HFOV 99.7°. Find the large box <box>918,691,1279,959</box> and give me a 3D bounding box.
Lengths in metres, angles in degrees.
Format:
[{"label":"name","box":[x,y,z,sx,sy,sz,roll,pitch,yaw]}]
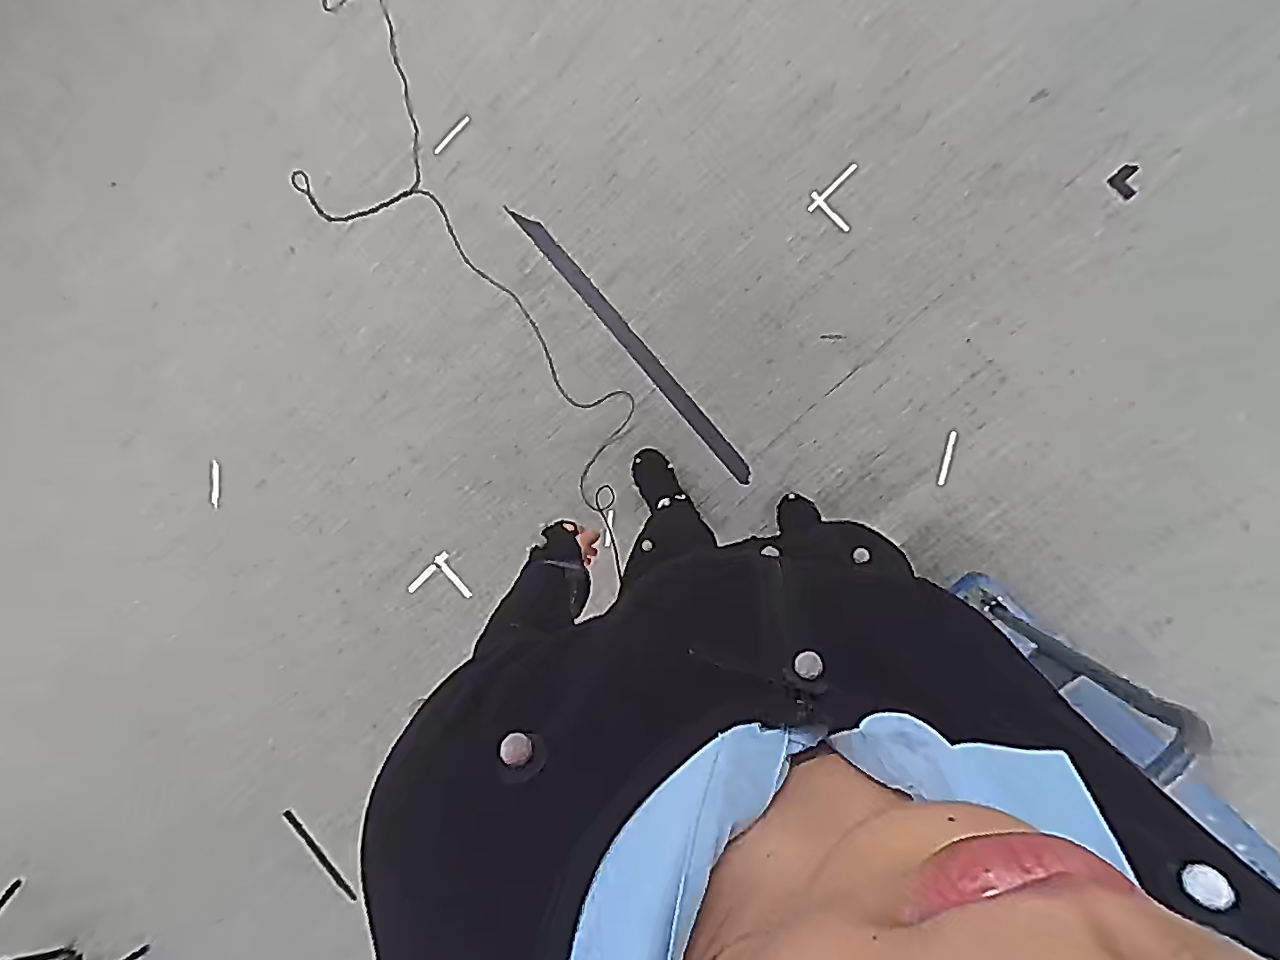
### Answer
[{"label":"large box","box":[0.862,0.718,1.084,0.408,0.320,0.320,-45,85,8]}]
